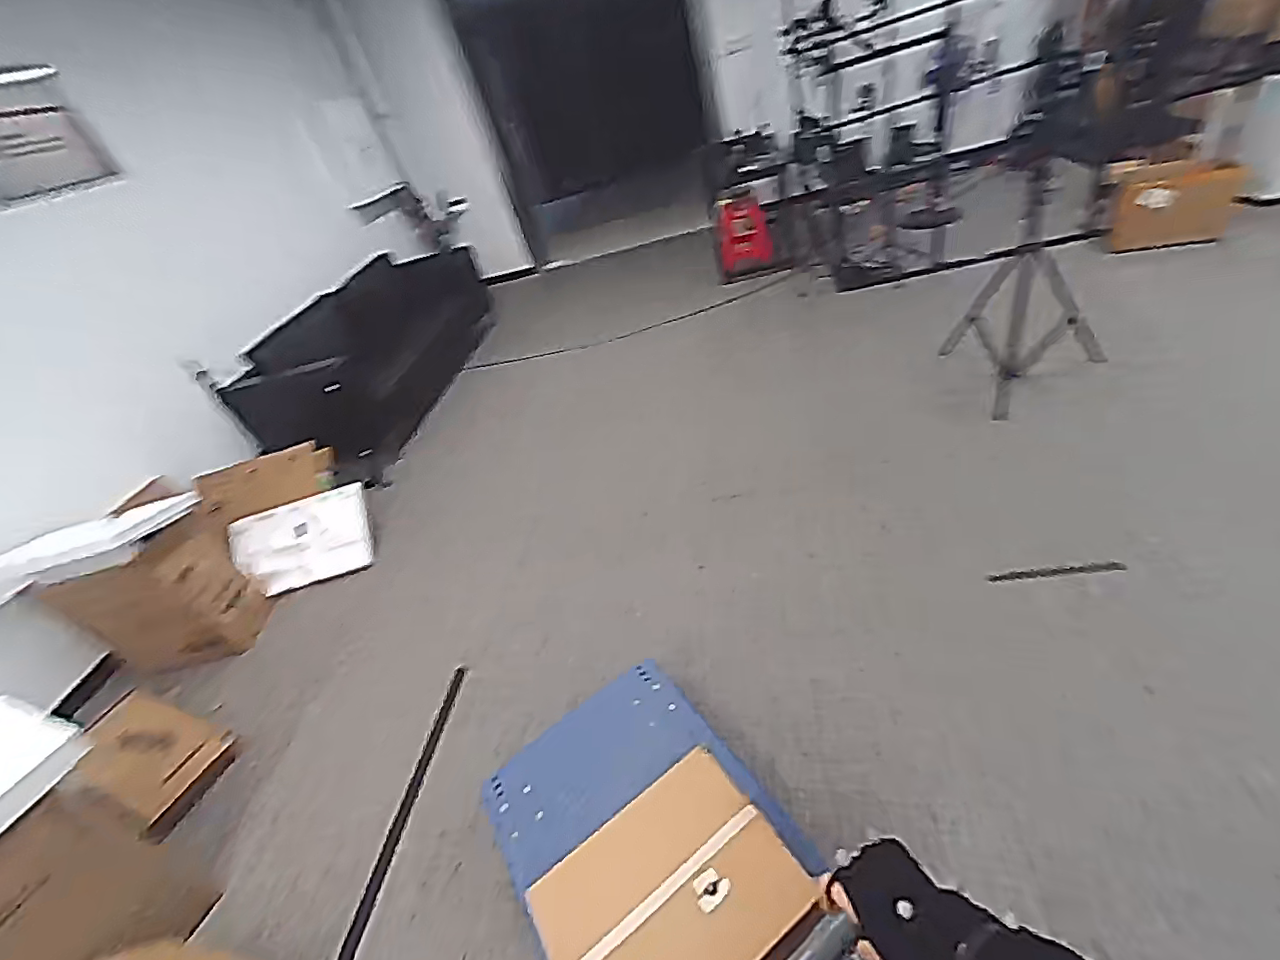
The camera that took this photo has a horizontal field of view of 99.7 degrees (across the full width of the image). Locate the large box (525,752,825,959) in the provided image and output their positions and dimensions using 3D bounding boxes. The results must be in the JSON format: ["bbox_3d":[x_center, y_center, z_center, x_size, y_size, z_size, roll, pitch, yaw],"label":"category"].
[{"bbox_3d":[0.073,0.809,0.977,0.408,0.320,0.320,-32,39,-18],"label":"large box"}]
